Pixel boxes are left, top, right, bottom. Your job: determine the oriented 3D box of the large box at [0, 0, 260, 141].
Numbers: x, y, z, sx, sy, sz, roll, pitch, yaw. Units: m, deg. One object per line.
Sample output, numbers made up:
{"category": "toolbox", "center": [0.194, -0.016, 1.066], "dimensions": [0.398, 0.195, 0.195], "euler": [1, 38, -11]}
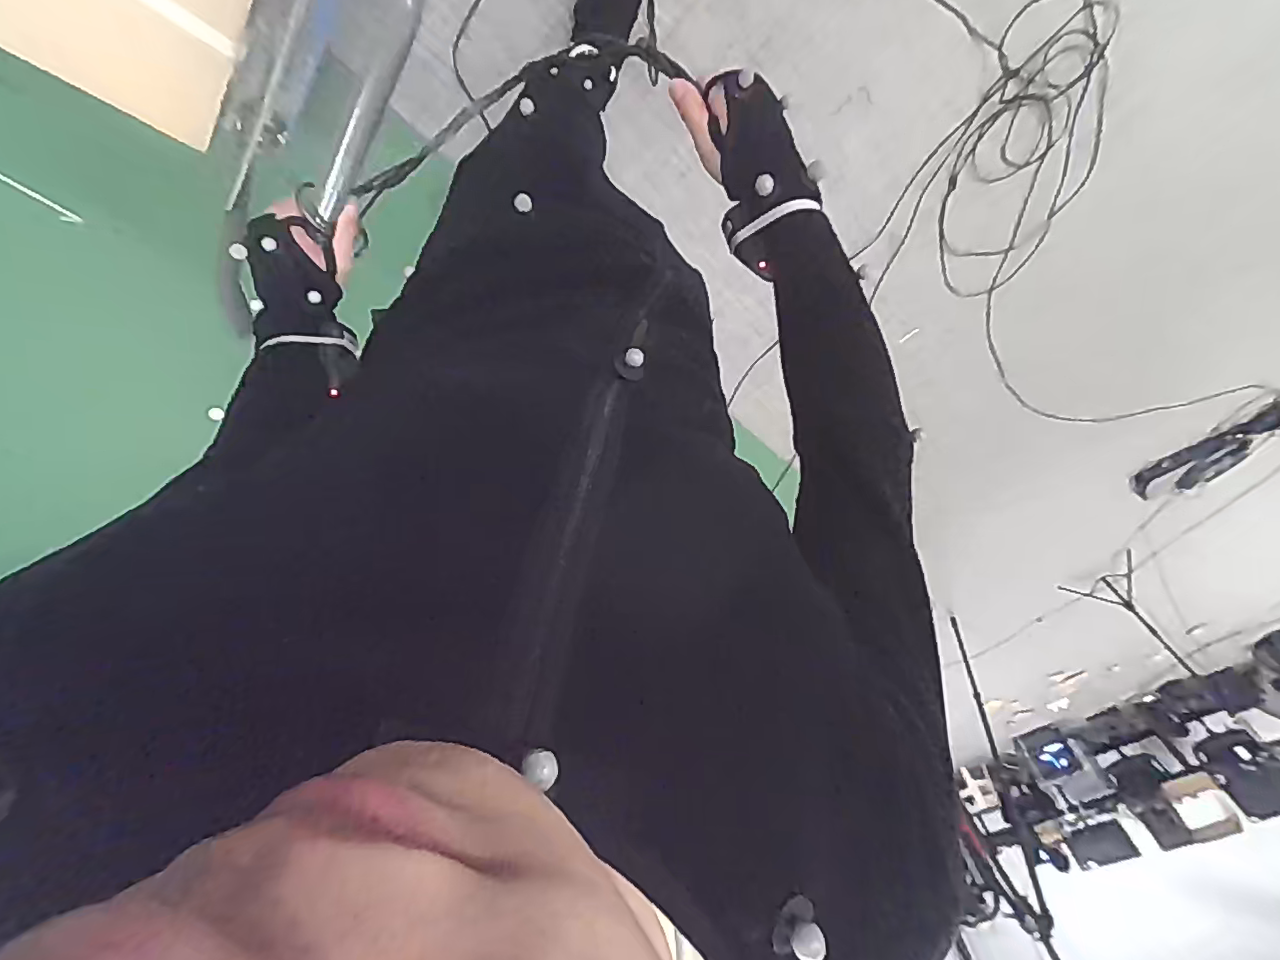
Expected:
{"category": "large box", "center": [-0.716, -0.735, 0.664], "dimensions": [0.408, 0.320, 0.320], "euler": [18, 130, -41]}
